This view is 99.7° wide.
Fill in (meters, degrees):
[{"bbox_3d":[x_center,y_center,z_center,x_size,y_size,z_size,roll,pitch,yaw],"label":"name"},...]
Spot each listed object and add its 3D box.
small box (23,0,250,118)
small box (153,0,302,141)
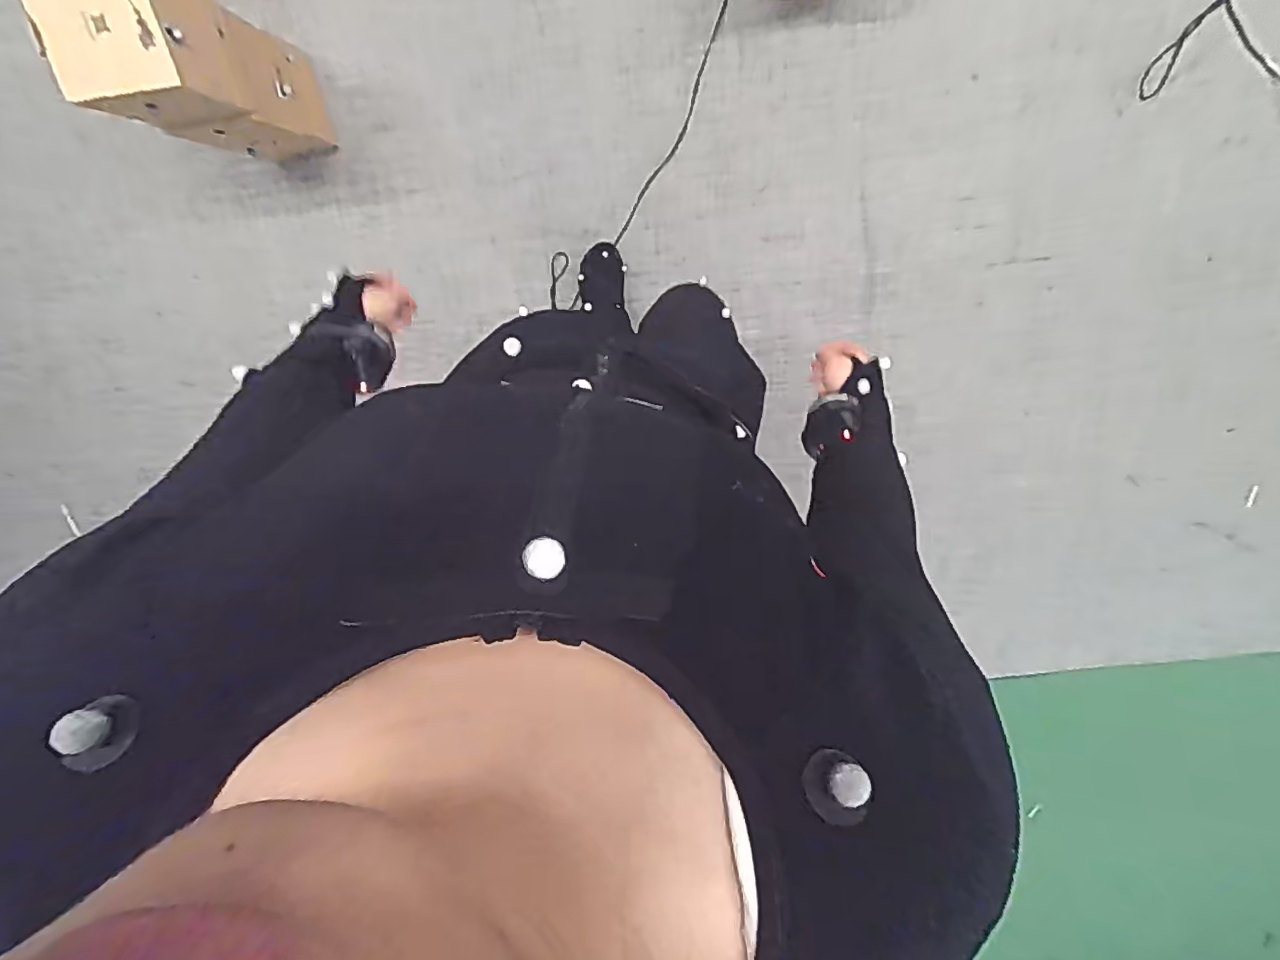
[{"bbox_3d":[-0.752,-0.669,0.817,0.179,0.176,0.168,-7,113,3],"label":"small box"},{"bbox_3d":[-0.759,-0.726,0.971,0.179,0.176,0.168,-7,113,1],"label":"small box"}]
